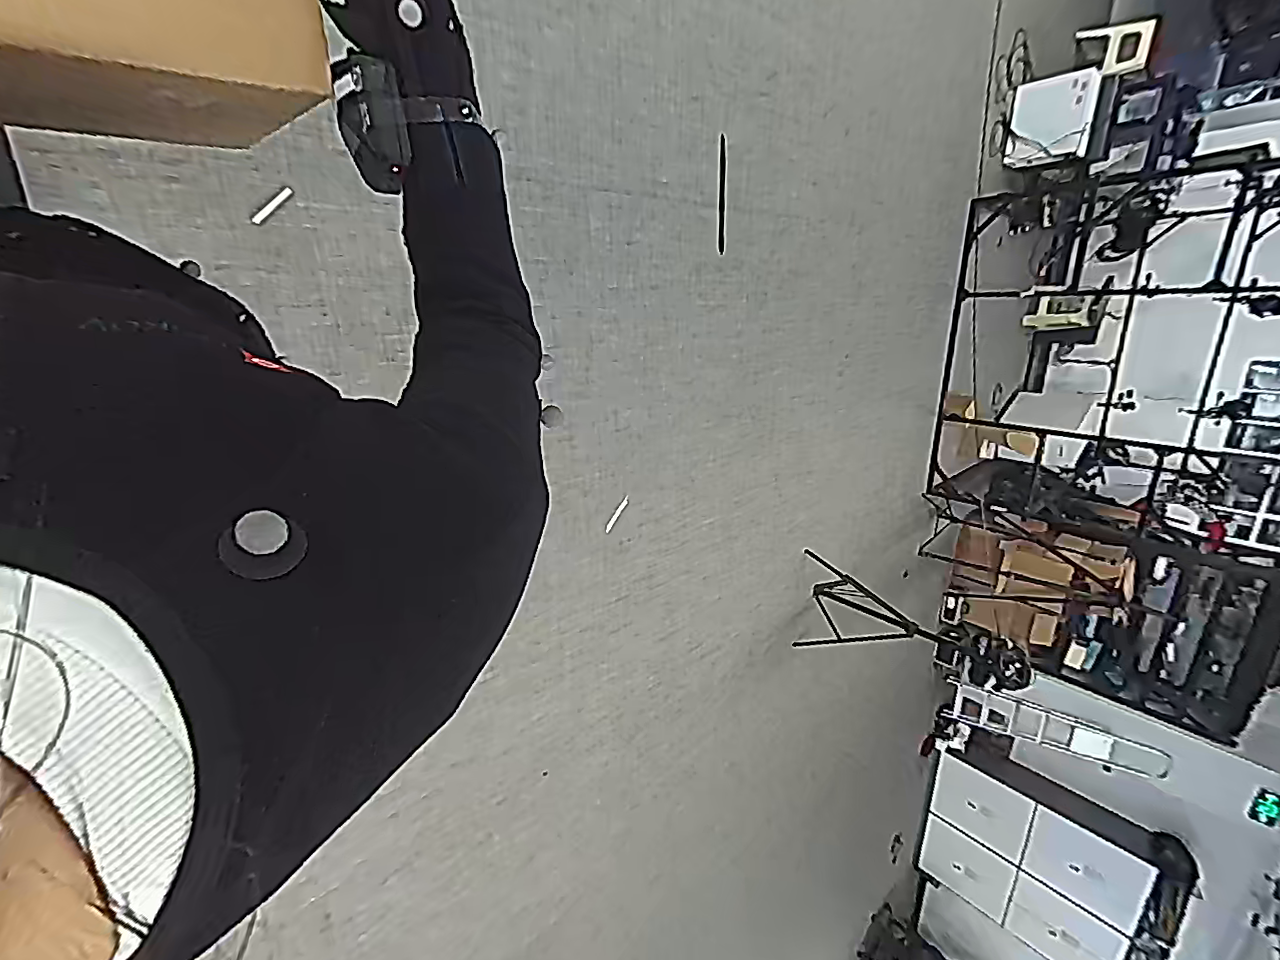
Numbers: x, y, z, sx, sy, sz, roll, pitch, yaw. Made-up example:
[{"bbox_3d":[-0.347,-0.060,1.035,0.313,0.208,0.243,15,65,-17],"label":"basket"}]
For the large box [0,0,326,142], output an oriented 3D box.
[{"bbox_3d":[-0.444,-0.373,0.258,0.408,0.320,0.320,-21,123,-38],"label":"large box"}]
